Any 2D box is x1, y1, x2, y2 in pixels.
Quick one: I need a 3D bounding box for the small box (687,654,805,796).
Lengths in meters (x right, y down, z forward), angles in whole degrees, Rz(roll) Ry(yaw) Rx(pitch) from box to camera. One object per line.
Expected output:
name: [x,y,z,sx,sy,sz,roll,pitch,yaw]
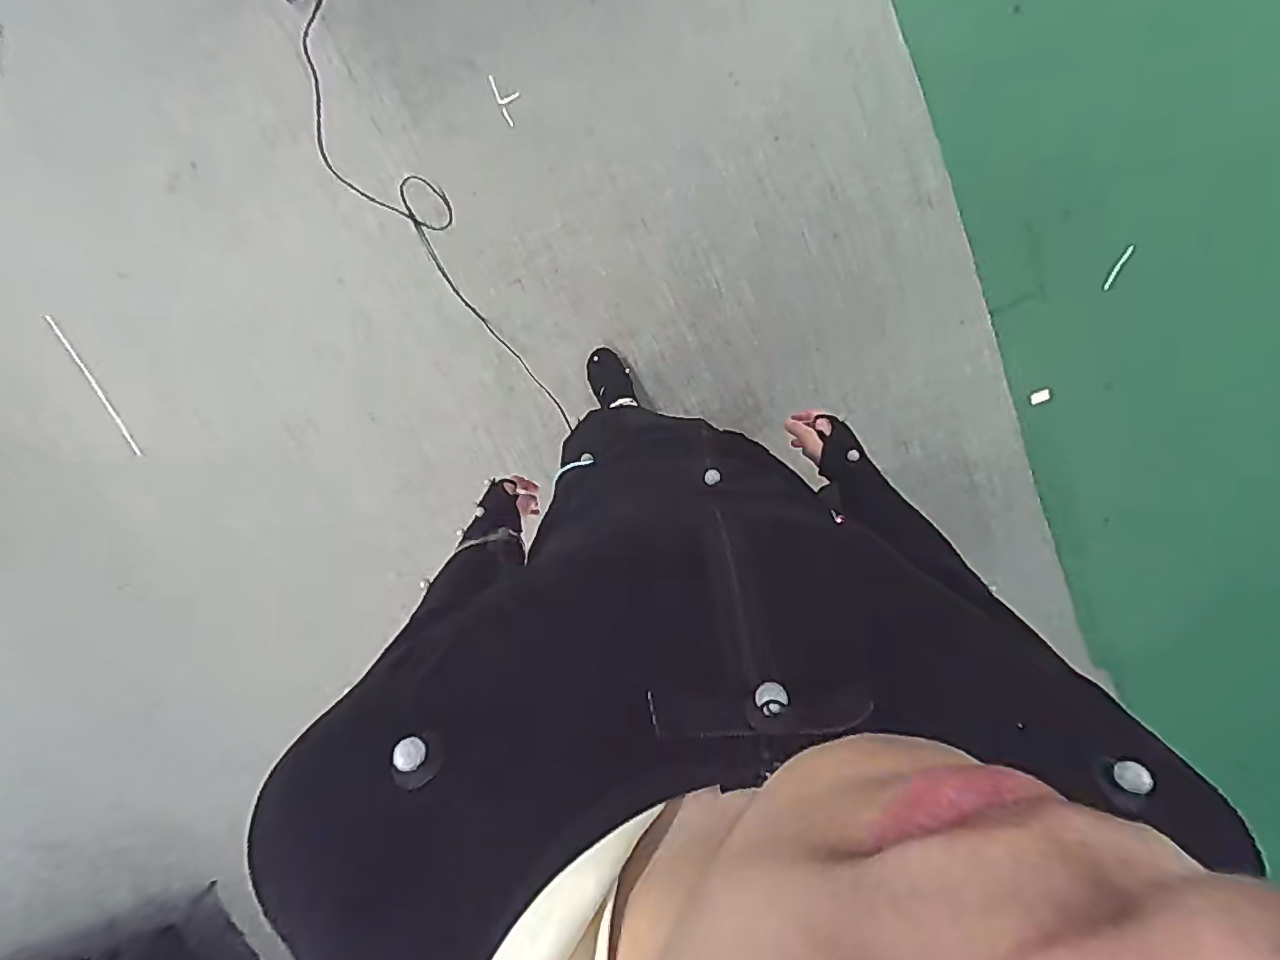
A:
small box: [0.199,0.470,1.061,0.179,0.176,0.168,-20,100,8]
